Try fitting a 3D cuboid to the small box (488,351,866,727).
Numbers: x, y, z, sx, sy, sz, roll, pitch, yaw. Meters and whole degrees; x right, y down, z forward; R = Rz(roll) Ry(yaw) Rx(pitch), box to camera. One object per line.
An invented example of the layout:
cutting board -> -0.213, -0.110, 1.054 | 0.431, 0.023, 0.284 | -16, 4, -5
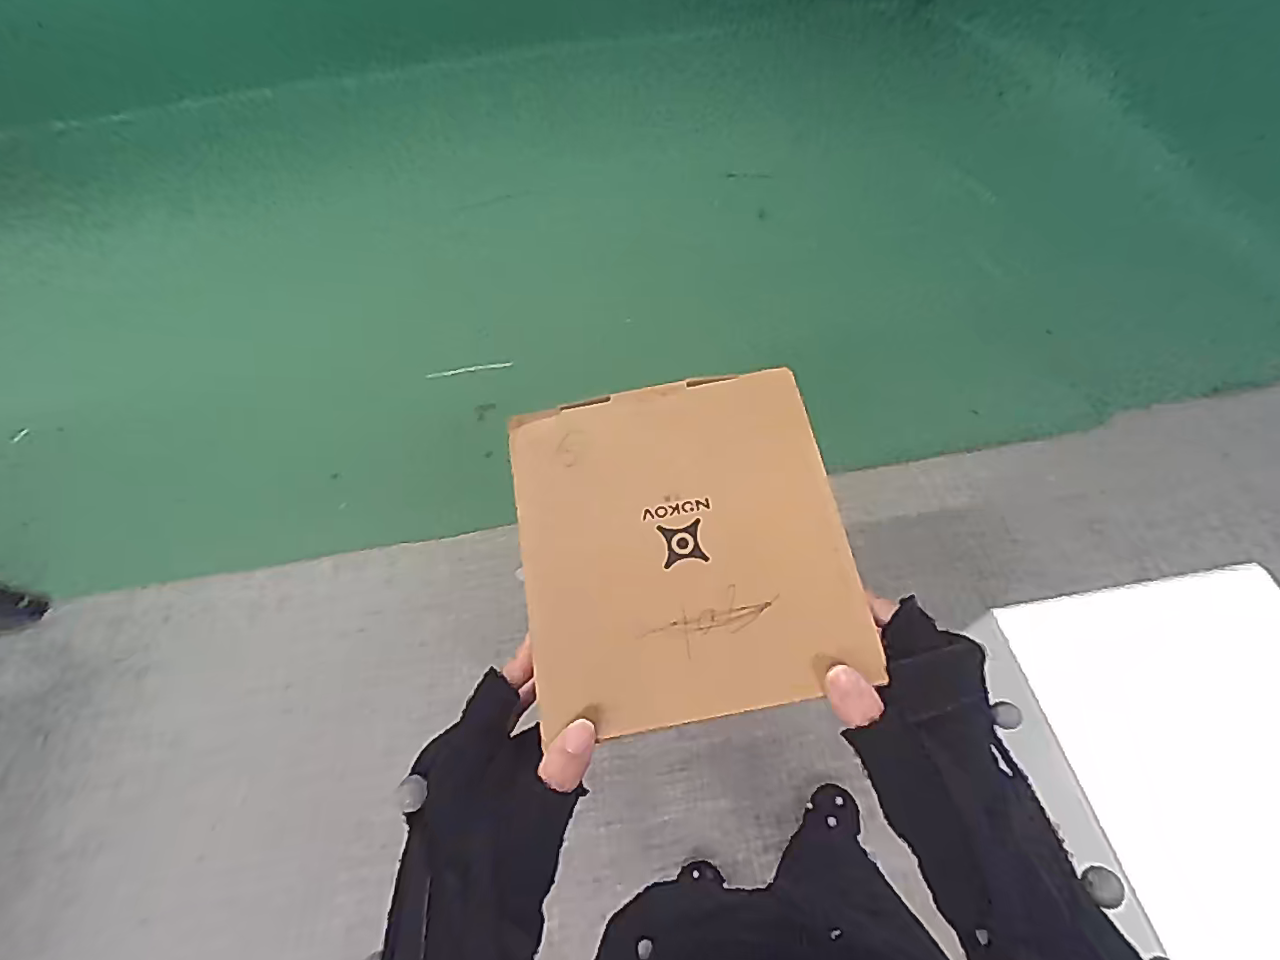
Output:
small box -> 0.011, 0.047, 0.348 | 0.168, 0.176, 0.179 | -11, 69, -2
